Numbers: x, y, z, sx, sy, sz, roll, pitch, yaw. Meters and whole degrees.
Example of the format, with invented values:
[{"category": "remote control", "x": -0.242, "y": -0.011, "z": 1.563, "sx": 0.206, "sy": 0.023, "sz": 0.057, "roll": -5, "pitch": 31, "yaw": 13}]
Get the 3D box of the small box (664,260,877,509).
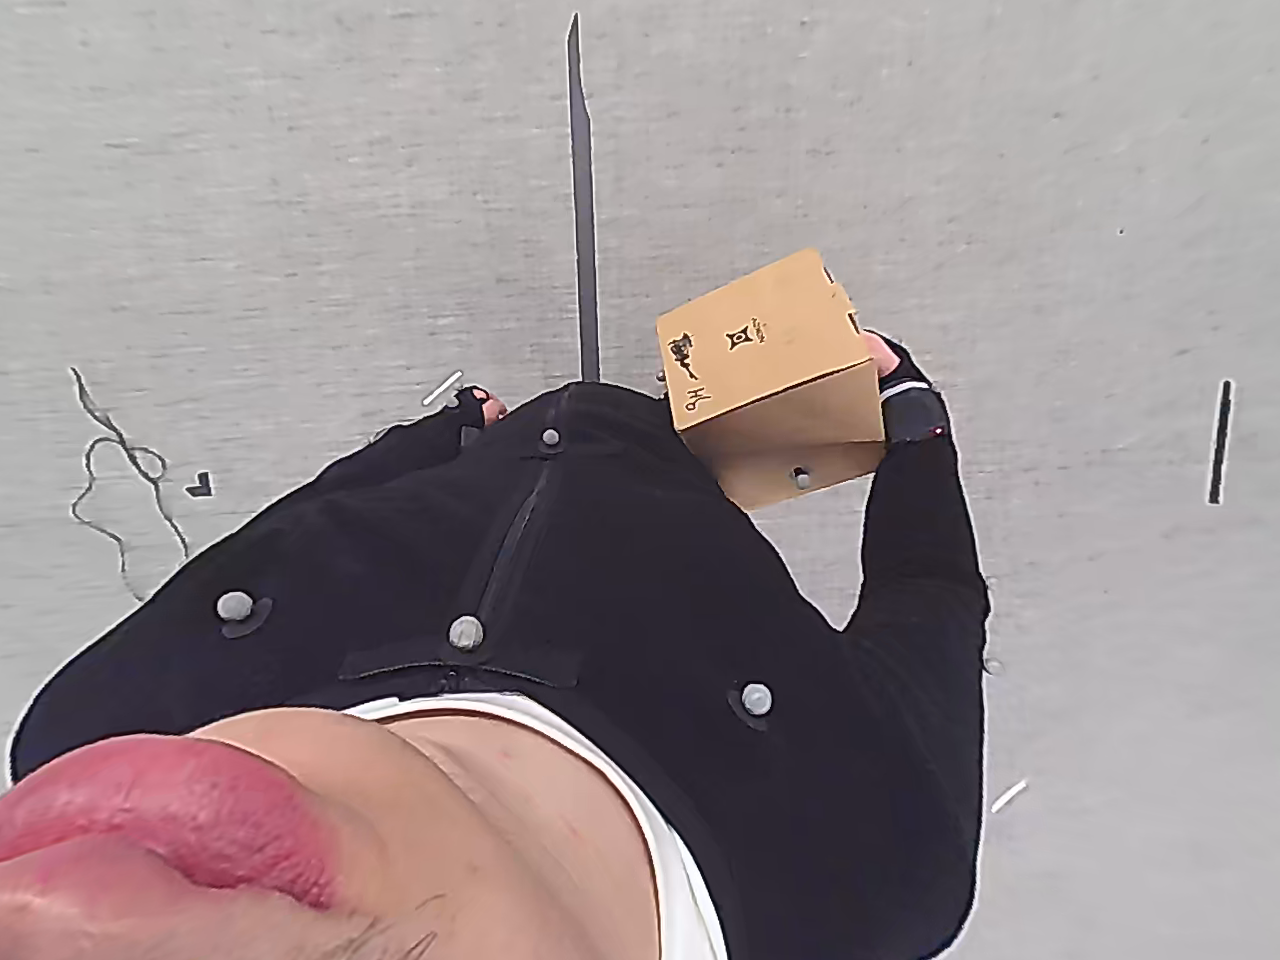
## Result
[{"category": "small box", "x": 0.144, "y": -0.094, "z": 0.587, "sx": 0.179, "sy": 0.168, "sz": 0.176, "roll": -19, "pitch": 140, "yaw": 16}]
